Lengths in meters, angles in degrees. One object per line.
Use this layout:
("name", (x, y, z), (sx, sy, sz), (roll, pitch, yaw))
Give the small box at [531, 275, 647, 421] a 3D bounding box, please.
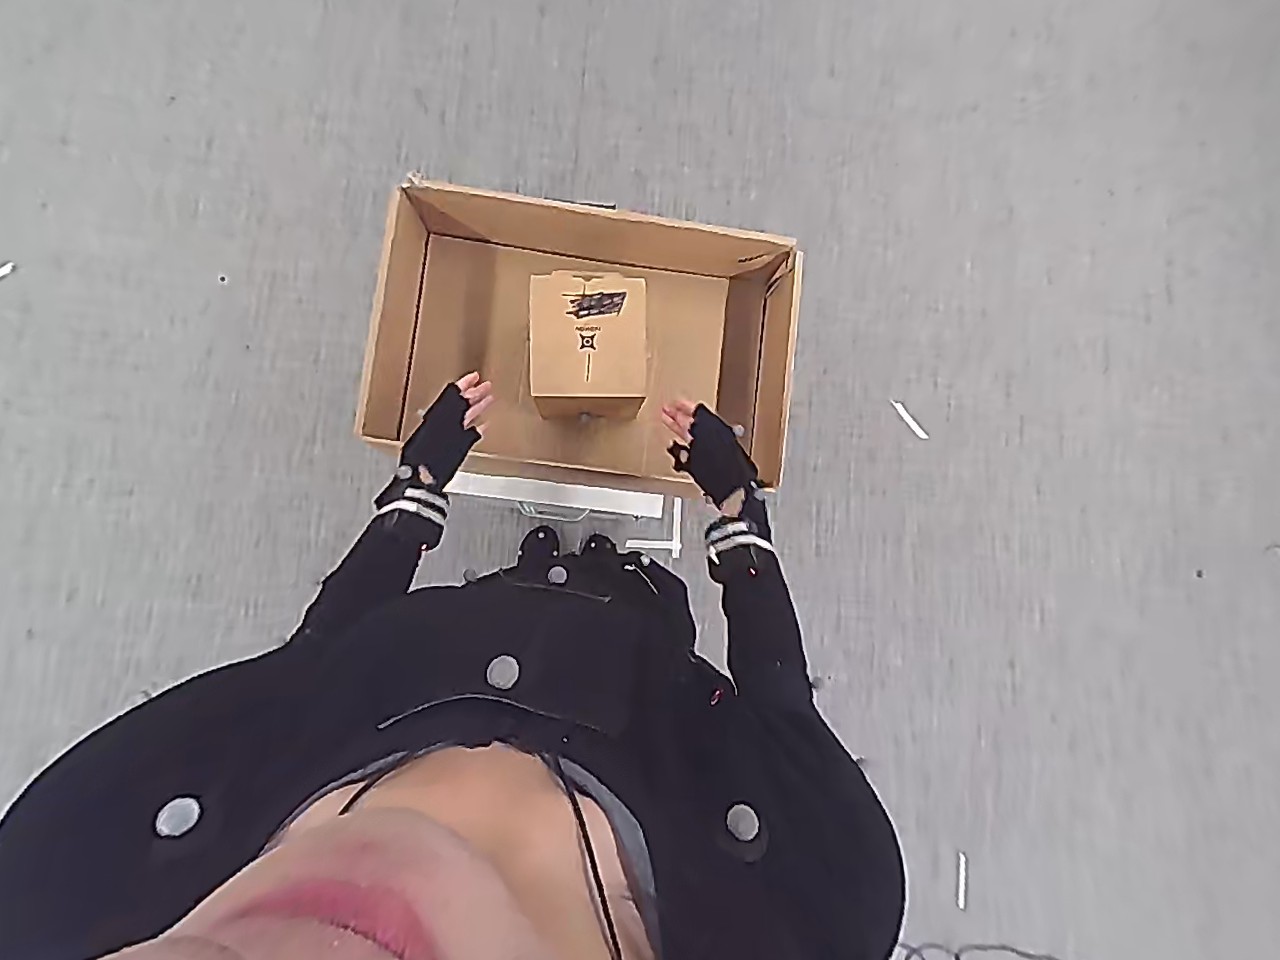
("small box", (-0.080, -0.196, 0.841), (0.168, 0.176, 0.179), (-1, 86, -5))
